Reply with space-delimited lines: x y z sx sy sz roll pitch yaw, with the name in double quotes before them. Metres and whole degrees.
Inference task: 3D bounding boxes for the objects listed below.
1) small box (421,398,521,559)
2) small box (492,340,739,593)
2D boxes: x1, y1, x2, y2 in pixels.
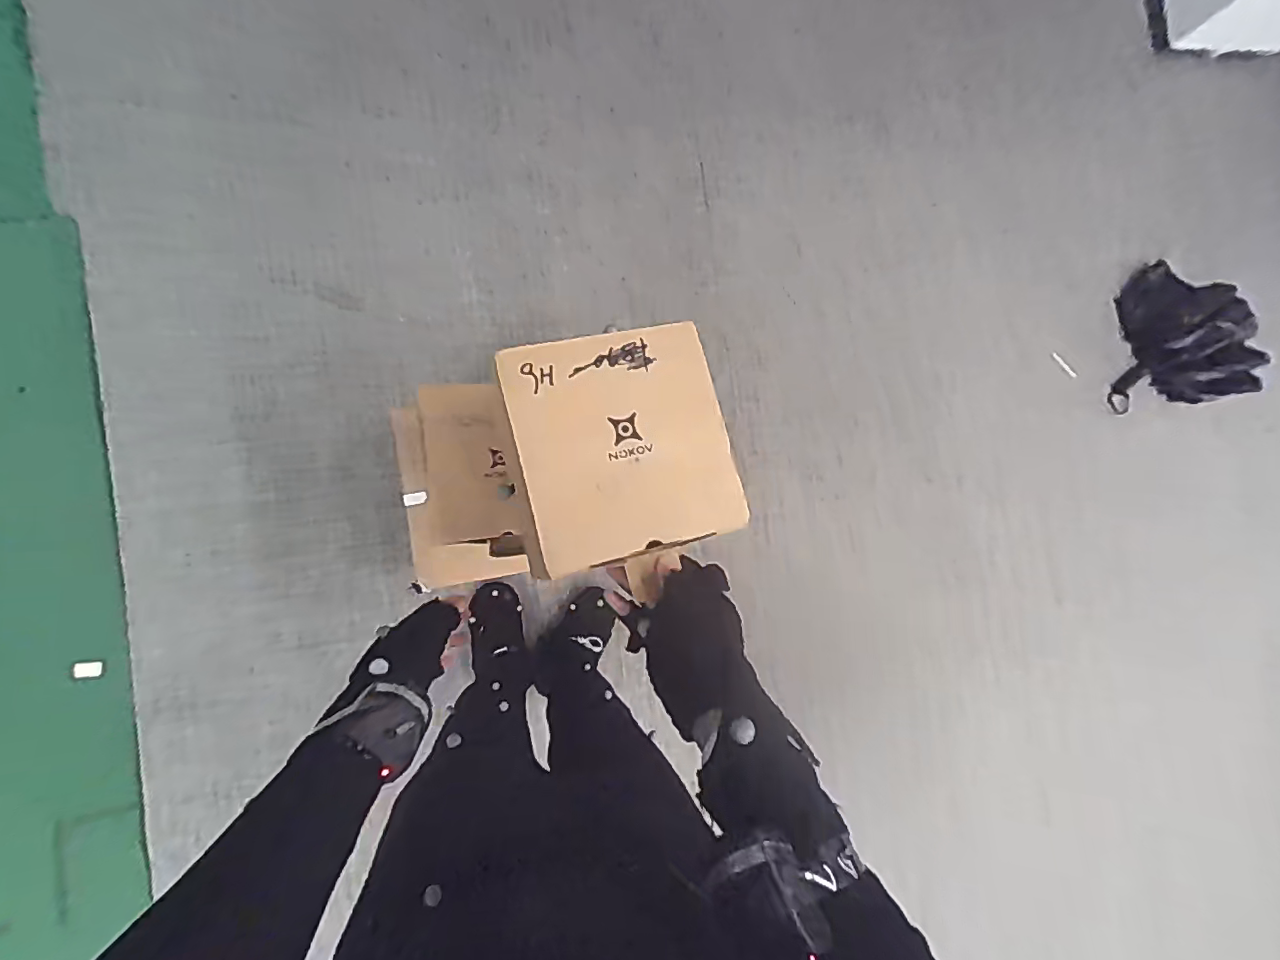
"small box" -0.169 -0.007 0.683 0.168 0.176 0.179 -5 91 -12
"small box" -0.035 -0.006 0.497 0.168 0.176 0.179 -13 84 -17
